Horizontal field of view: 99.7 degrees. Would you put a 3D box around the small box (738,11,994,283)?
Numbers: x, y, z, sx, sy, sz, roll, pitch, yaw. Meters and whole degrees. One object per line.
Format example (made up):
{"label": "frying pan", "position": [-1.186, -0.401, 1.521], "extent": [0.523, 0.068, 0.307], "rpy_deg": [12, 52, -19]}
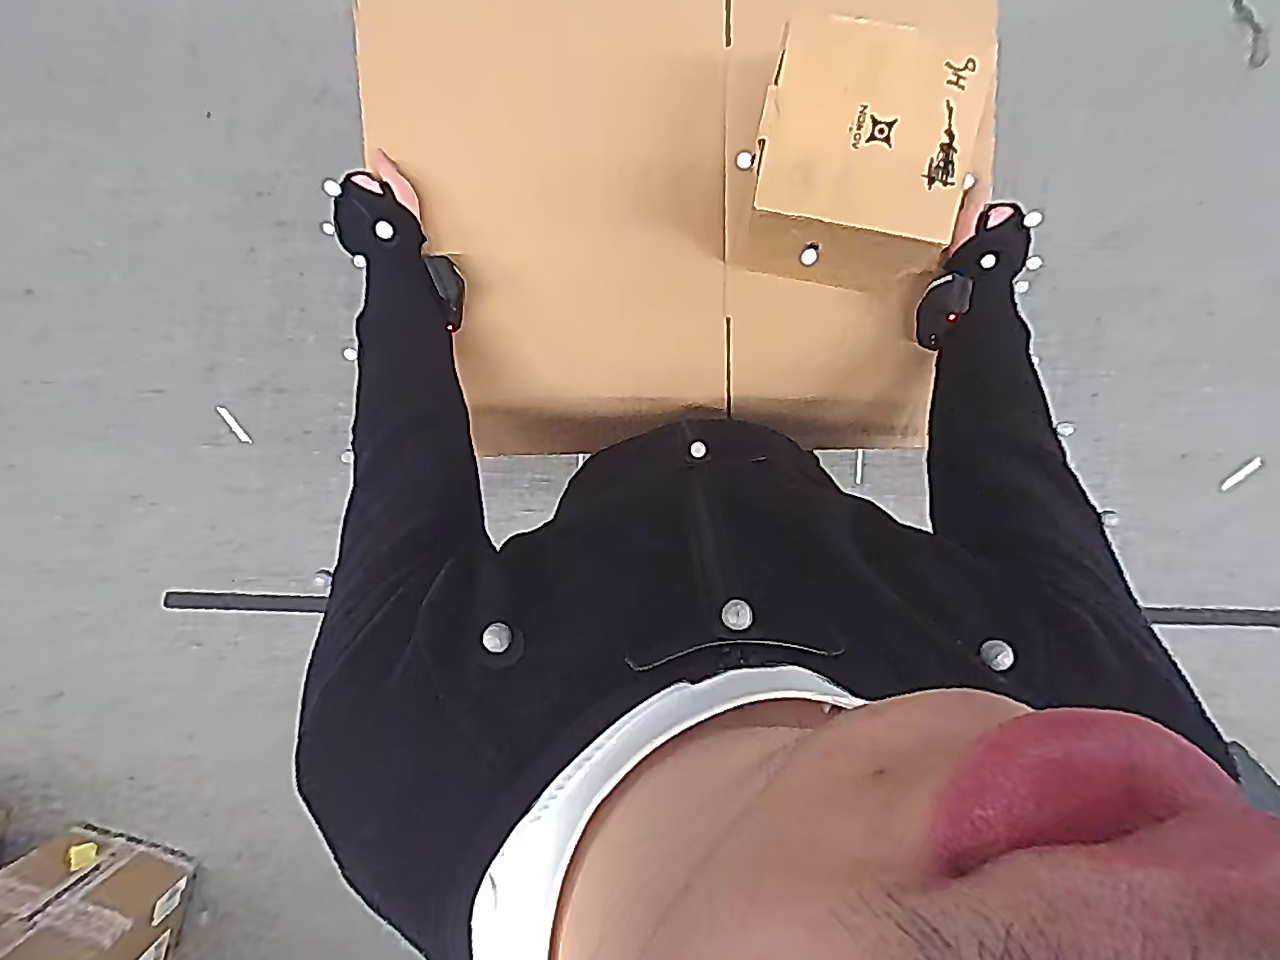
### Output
{"label": "small box", "position": [0.202, -0.312, 0.543], "extent": [0.179, 0.176, 0.168], "rpy_deg": [11, 96, 3]}
